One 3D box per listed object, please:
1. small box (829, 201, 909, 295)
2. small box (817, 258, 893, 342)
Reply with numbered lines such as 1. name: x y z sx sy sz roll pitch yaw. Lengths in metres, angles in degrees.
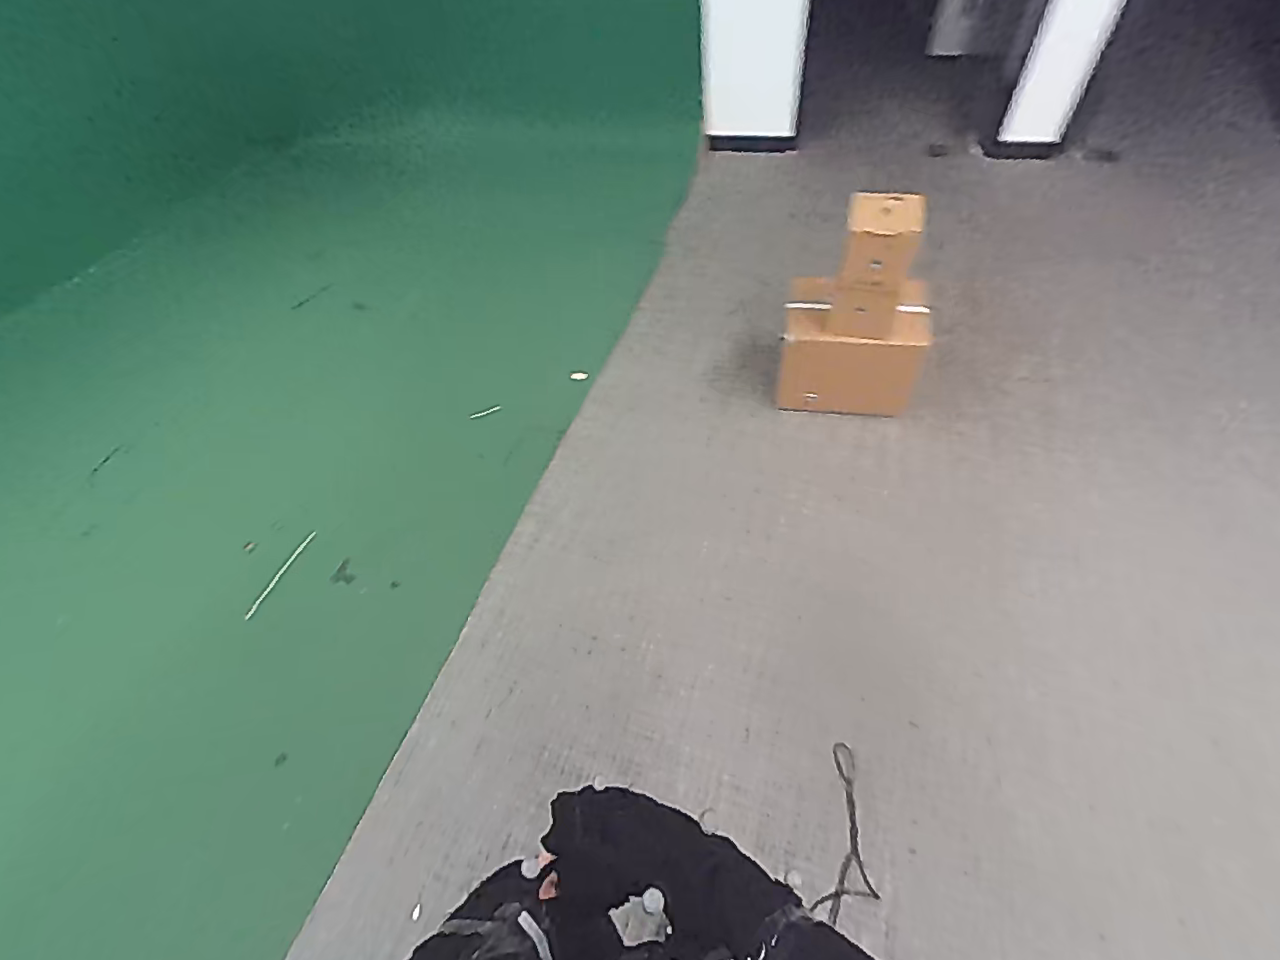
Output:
1. small box: 0.605 -0.615 1.440 0.168 0.176 0.179 10 57 15
2. small box: 0.625 -0.521 1.572 0.179 0.176 0.168 10 57 16
